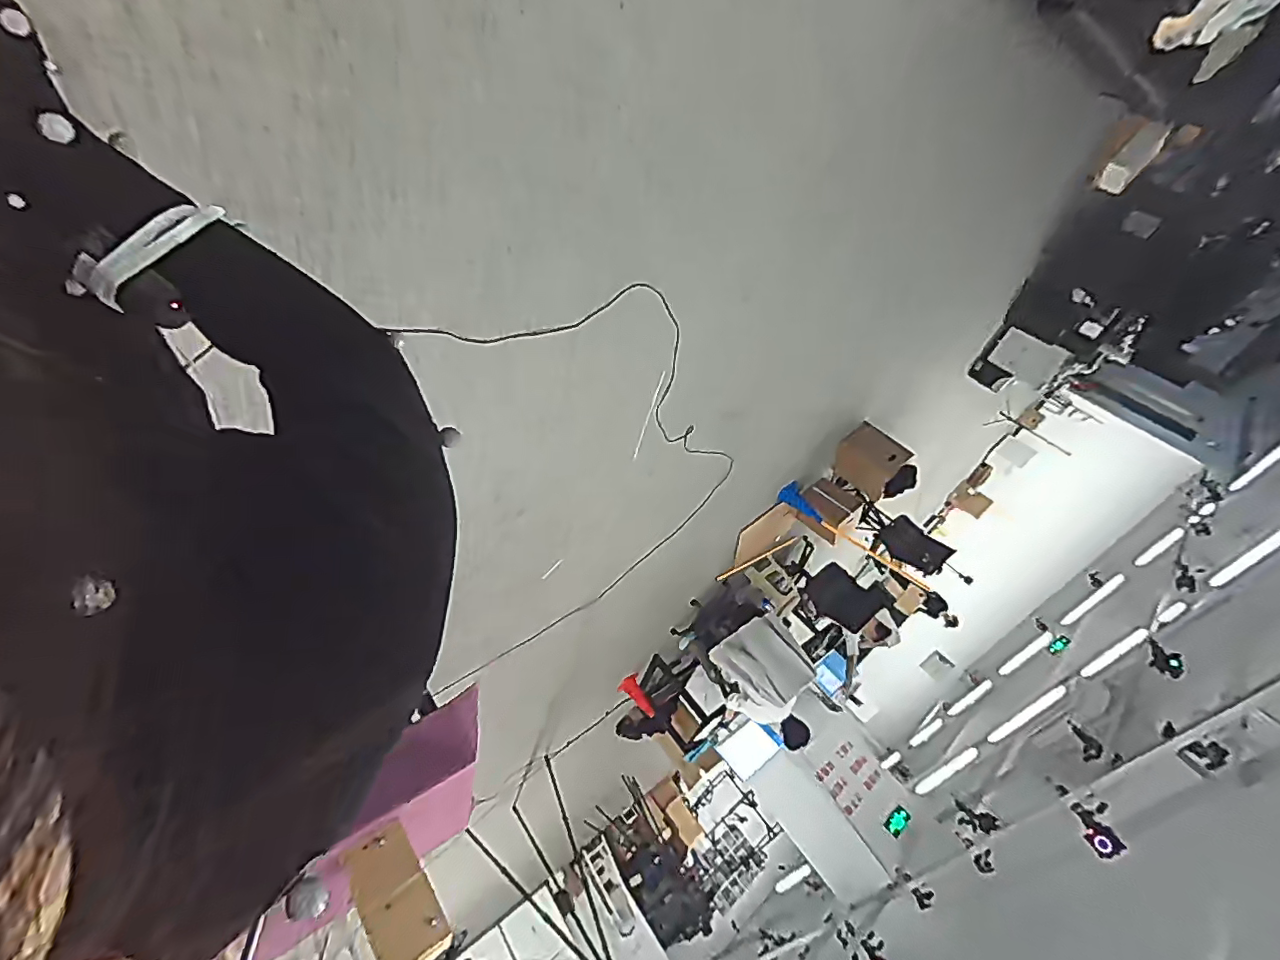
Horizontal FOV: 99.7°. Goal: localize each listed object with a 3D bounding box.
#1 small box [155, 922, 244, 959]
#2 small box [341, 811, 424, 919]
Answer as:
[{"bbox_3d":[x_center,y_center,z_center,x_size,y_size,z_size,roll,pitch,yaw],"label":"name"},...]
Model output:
[{"bbox_3d":[-1.042,1.194,1.274,0.168,0.176,0.179,-21,144,-38],"label":"small box"},{"bbox_3d":[-0.725,1.077,1.524,0.168,0.176,0.179,-19,142,-38],"label":"small box"}]
